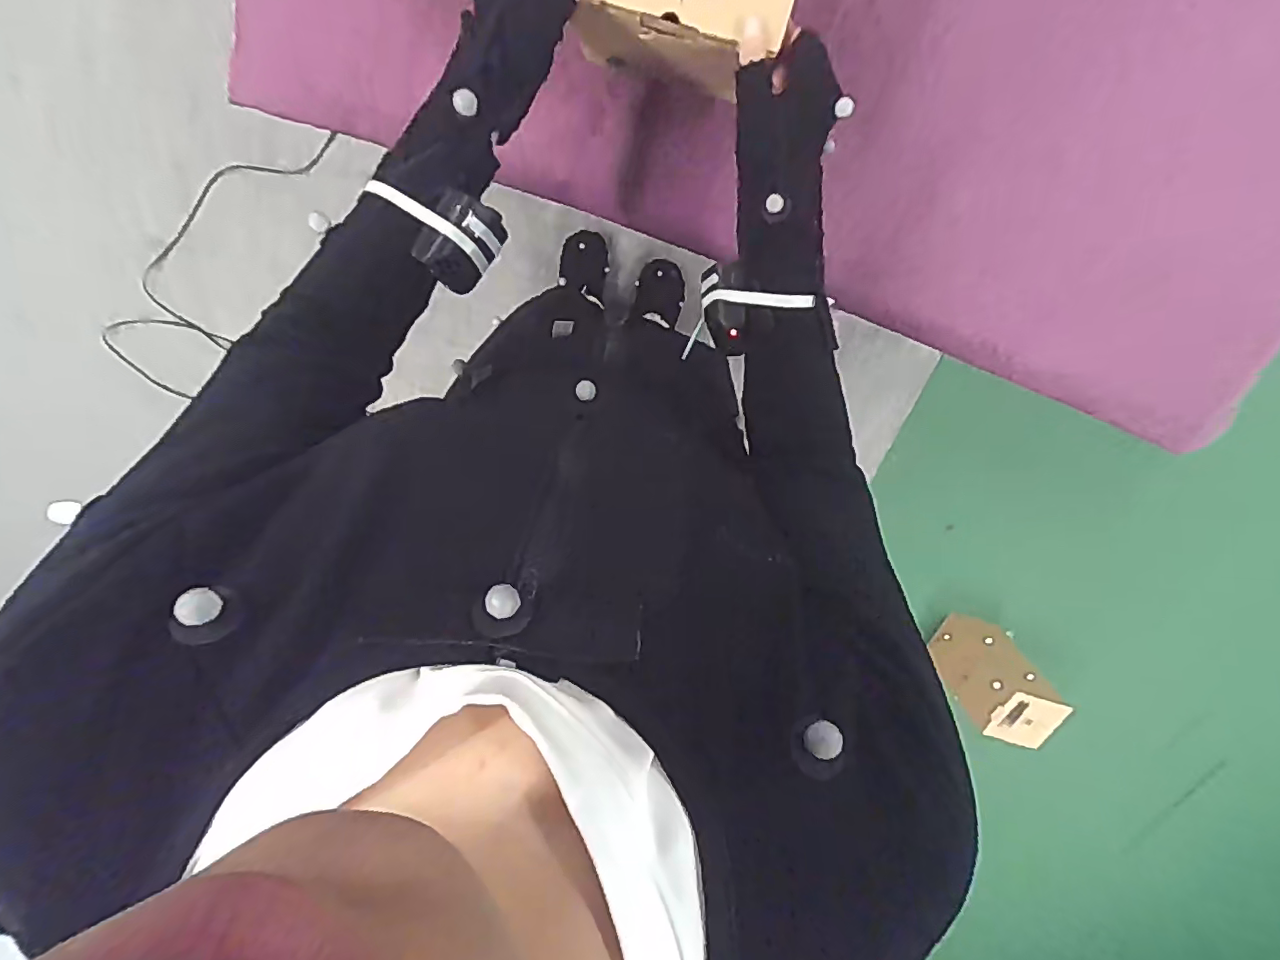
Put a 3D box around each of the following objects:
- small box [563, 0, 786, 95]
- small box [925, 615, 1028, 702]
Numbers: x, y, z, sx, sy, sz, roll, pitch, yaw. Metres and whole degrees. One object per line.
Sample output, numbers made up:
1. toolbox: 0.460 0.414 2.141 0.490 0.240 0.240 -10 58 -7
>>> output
1. small box: 0.044 -0.441 0.430 0.168 0.176 0.179 14 114 -4
2. small box: 1.029 0.546 1.668 0.179 0.176 0.168 18 114 -5
